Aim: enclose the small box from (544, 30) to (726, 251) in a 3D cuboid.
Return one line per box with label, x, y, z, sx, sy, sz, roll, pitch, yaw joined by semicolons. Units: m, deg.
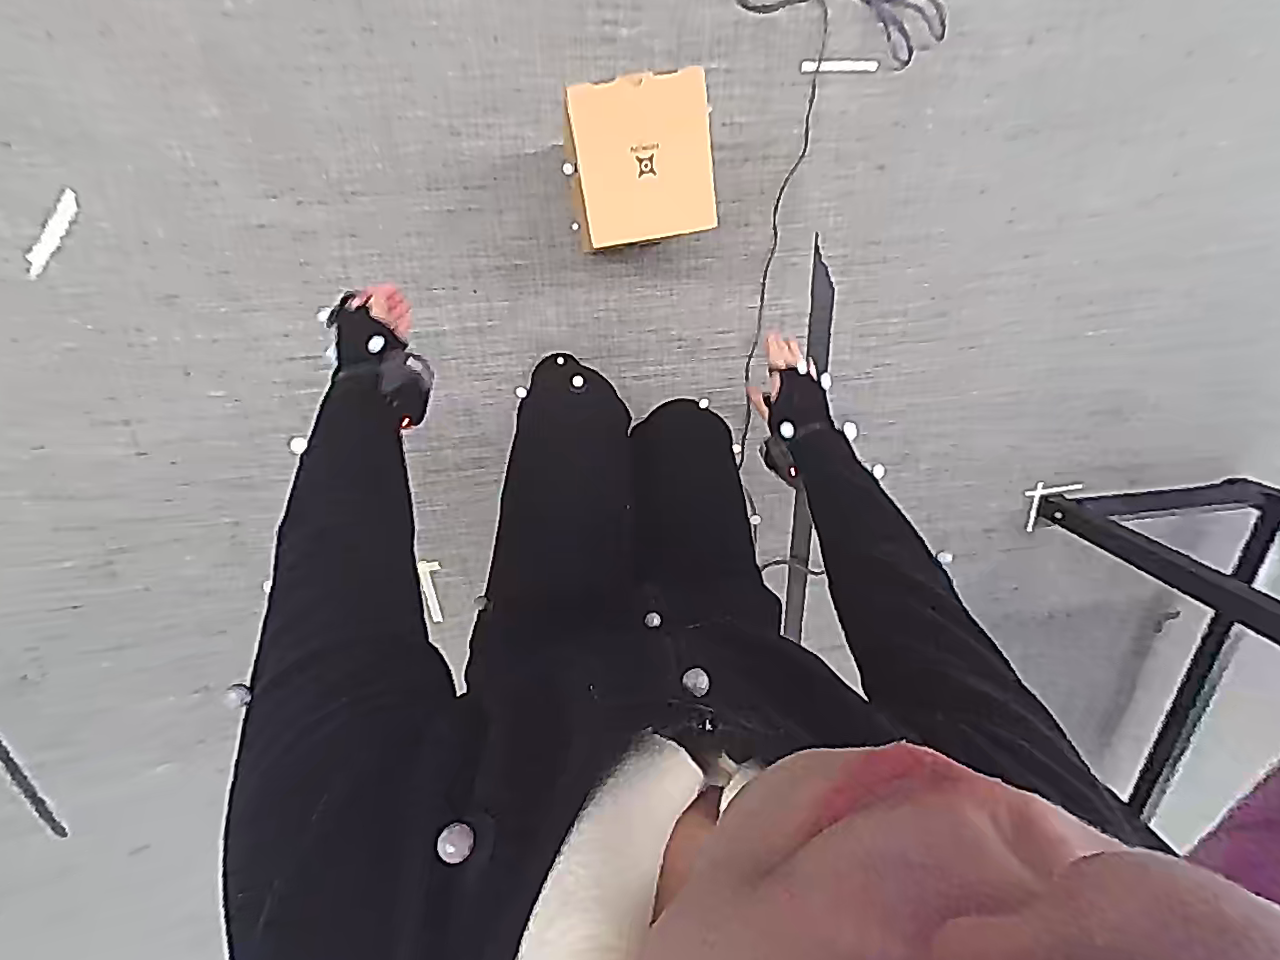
small box;0.003;-0.416;0.688;0.179;0.176;0.168;-10;95;15
